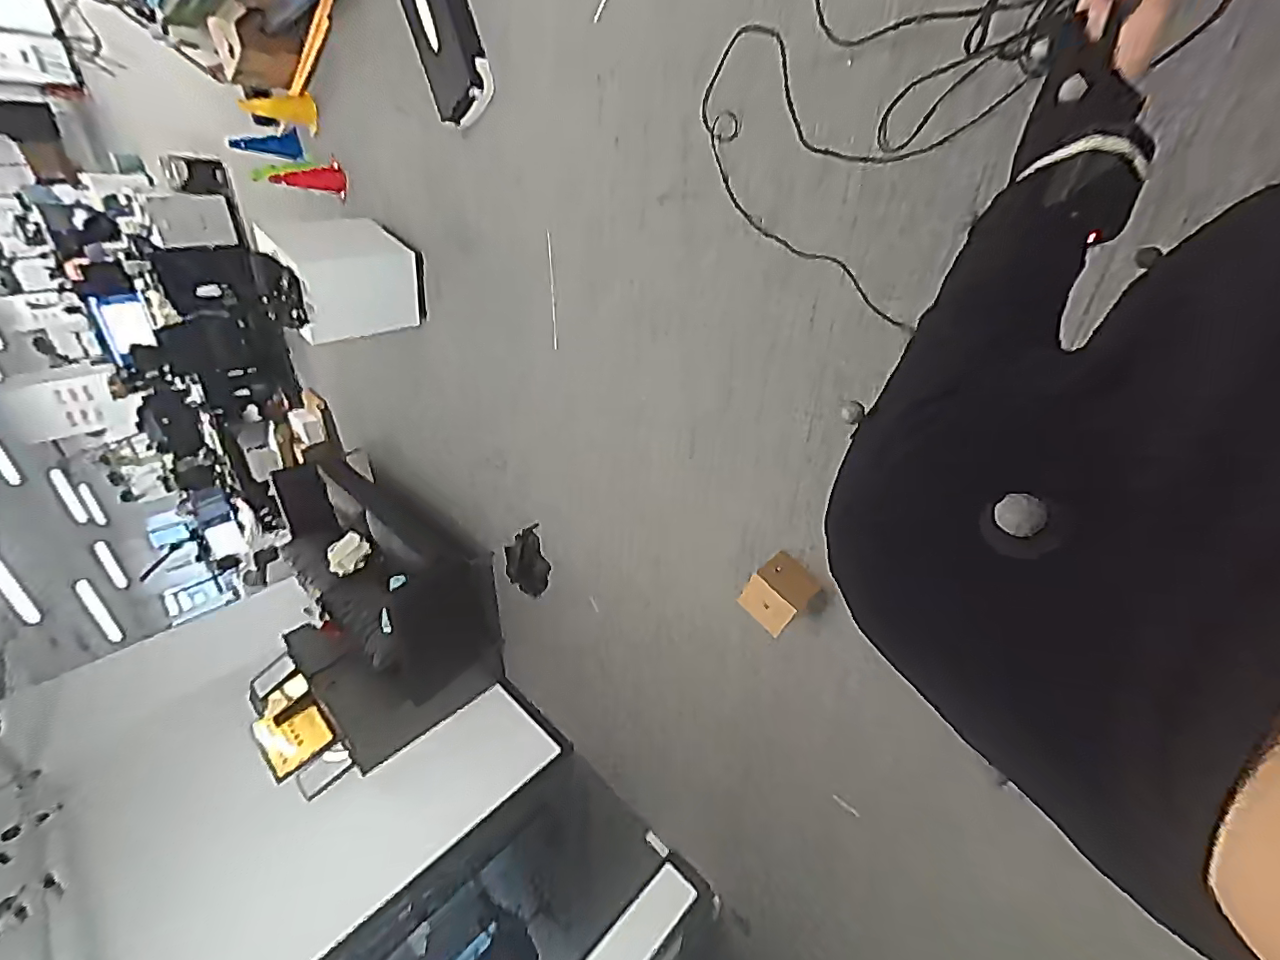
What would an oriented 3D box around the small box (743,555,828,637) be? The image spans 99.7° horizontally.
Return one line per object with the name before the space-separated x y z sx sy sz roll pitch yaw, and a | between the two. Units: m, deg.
small box | 0.476 0.370 1.772 0.179 0.176 0.168 41 137 24
